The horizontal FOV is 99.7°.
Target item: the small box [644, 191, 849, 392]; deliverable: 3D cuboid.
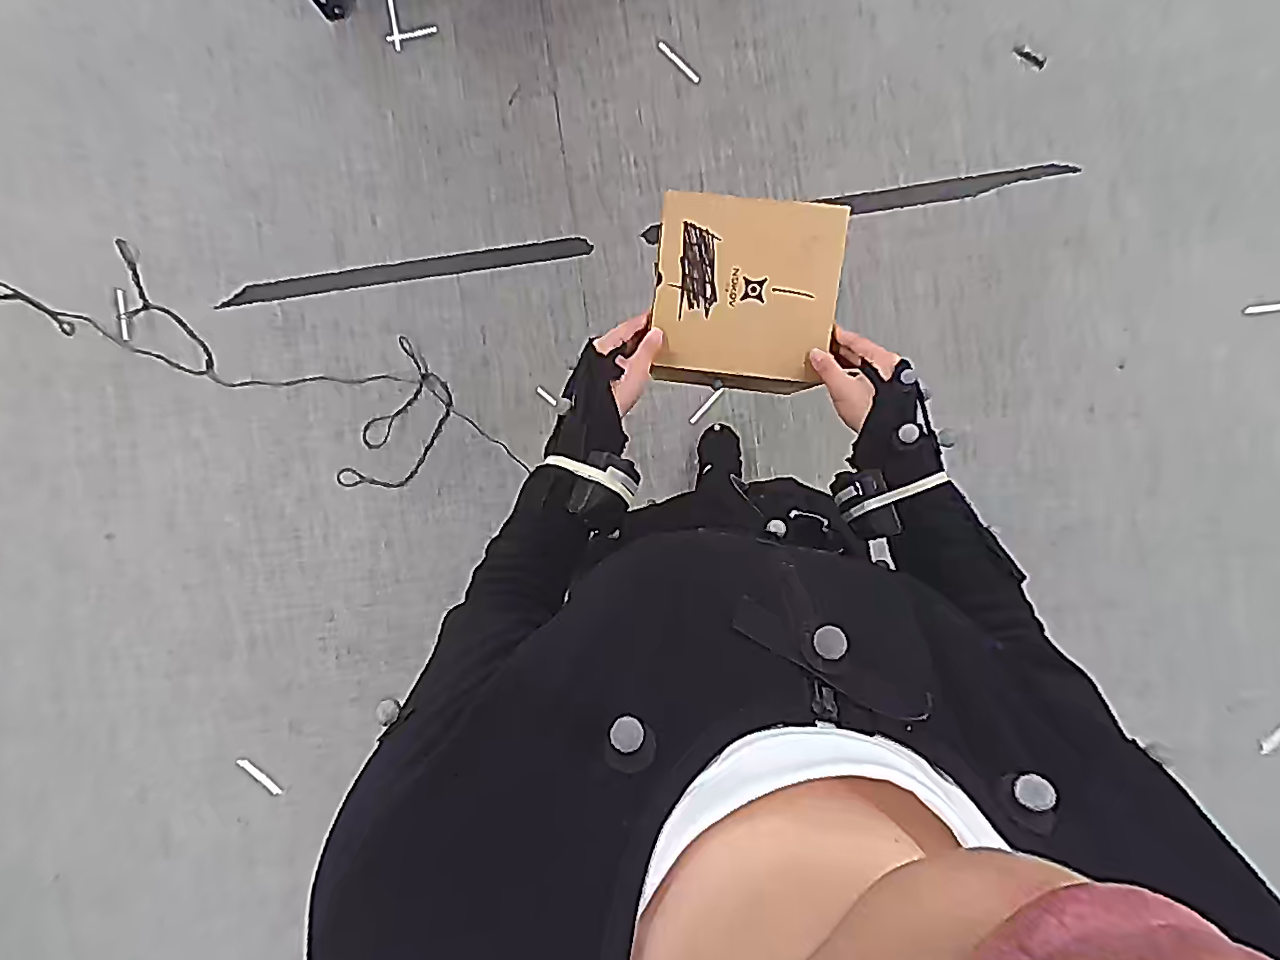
[{"bbox_3d":[0.105,-0.191,0.596,0.179,0.176,0.168,8,96,3],"label":"small box"}]
